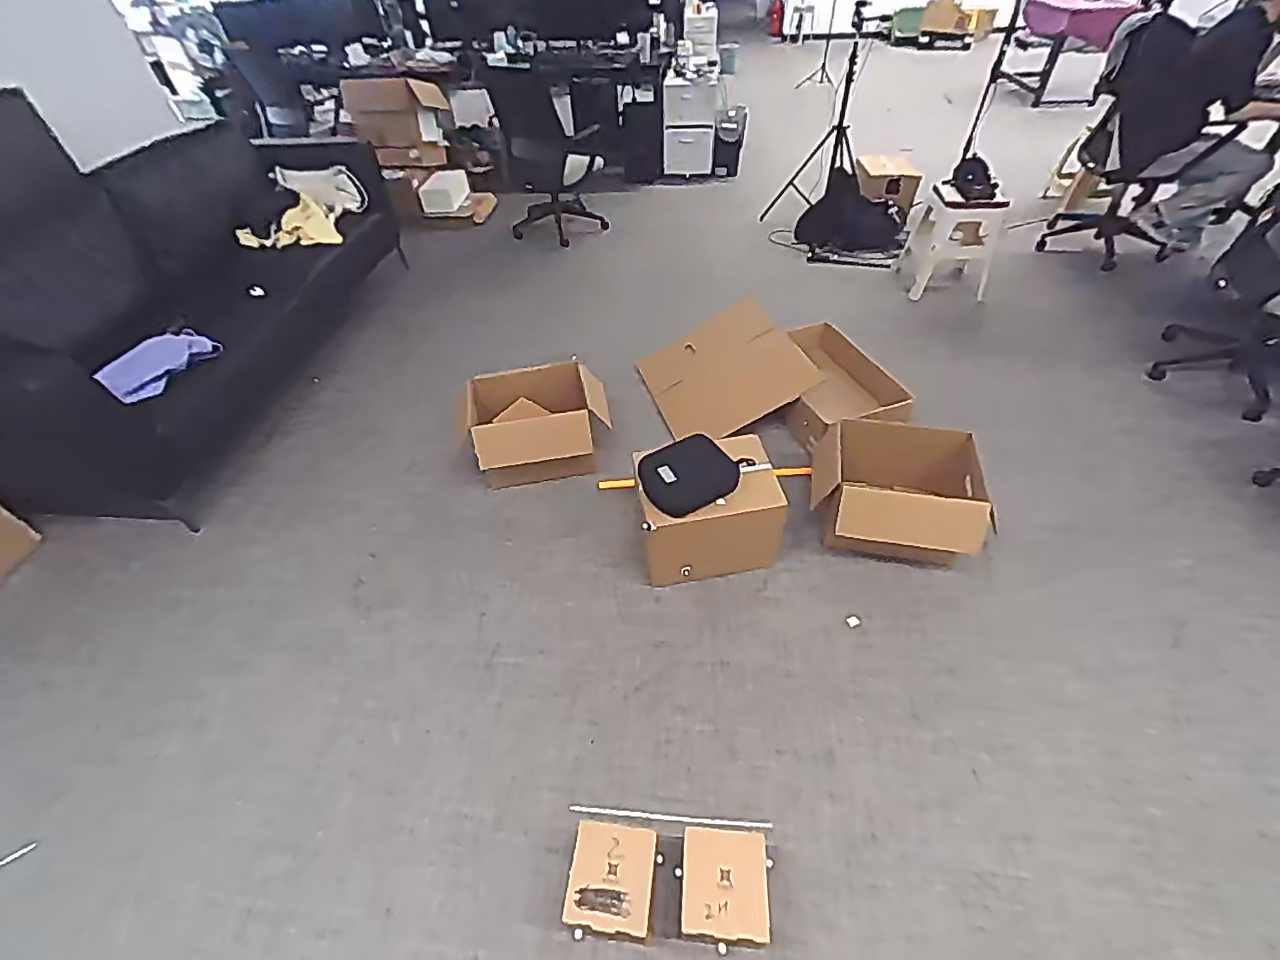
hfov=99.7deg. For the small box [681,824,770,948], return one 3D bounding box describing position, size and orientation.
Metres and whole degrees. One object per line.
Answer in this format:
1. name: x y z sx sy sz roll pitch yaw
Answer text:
1. small box: 0.171 0.836 1.114 0.168 0.176 0.179 1 46 6
